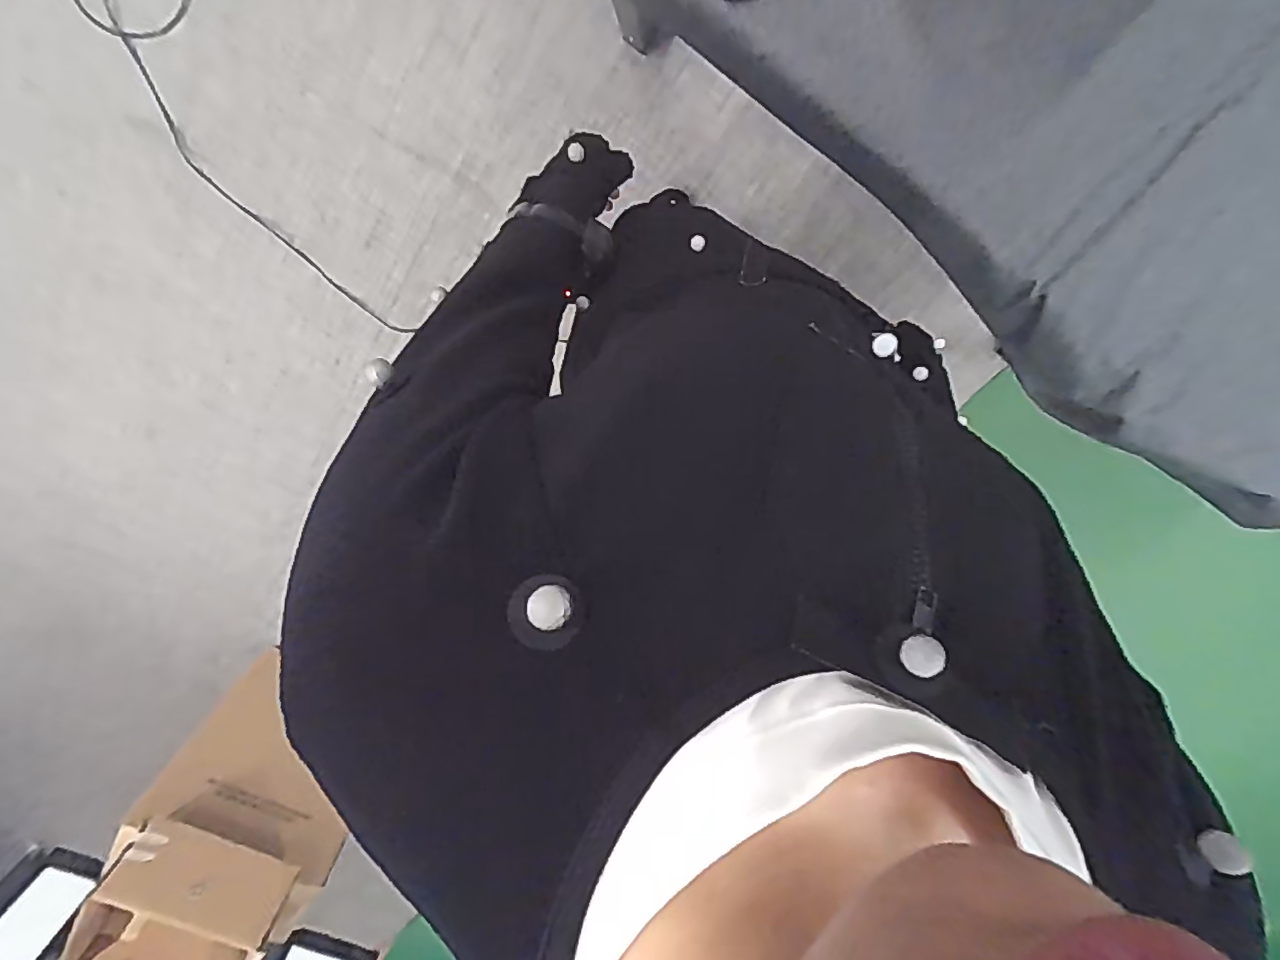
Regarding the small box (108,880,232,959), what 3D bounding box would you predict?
[{"bbox_3d":[-1.221,1.179,1.403,0.179,0.176,0.168,33,117,-12],"label":"small box"}]
